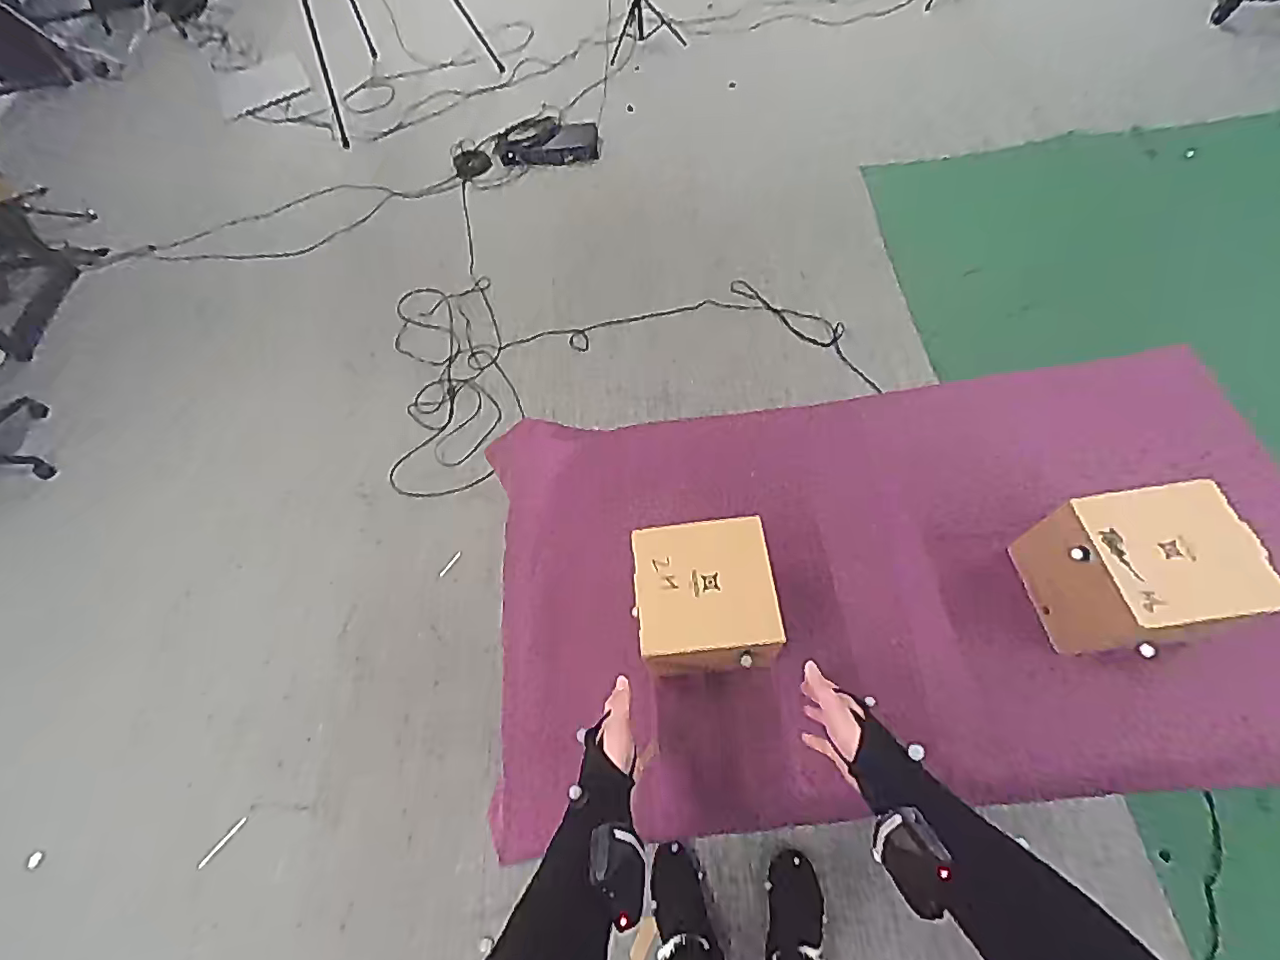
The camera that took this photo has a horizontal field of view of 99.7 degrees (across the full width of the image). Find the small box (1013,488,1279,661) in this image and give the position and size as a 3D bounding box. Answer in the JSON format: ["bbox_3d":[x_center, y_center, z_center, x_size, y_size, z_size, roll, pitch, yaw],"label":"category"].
[{"bbox_3d":[0.642,0.129,0.704,0.179,0.176,0.168,-9,60,3],"label":"small box"}]

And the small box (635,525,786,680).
[{"bbox_3d":[0.091,0.177,0.755,0.179,0.176,0.168,-7,61,4],"label":"small box"}]
